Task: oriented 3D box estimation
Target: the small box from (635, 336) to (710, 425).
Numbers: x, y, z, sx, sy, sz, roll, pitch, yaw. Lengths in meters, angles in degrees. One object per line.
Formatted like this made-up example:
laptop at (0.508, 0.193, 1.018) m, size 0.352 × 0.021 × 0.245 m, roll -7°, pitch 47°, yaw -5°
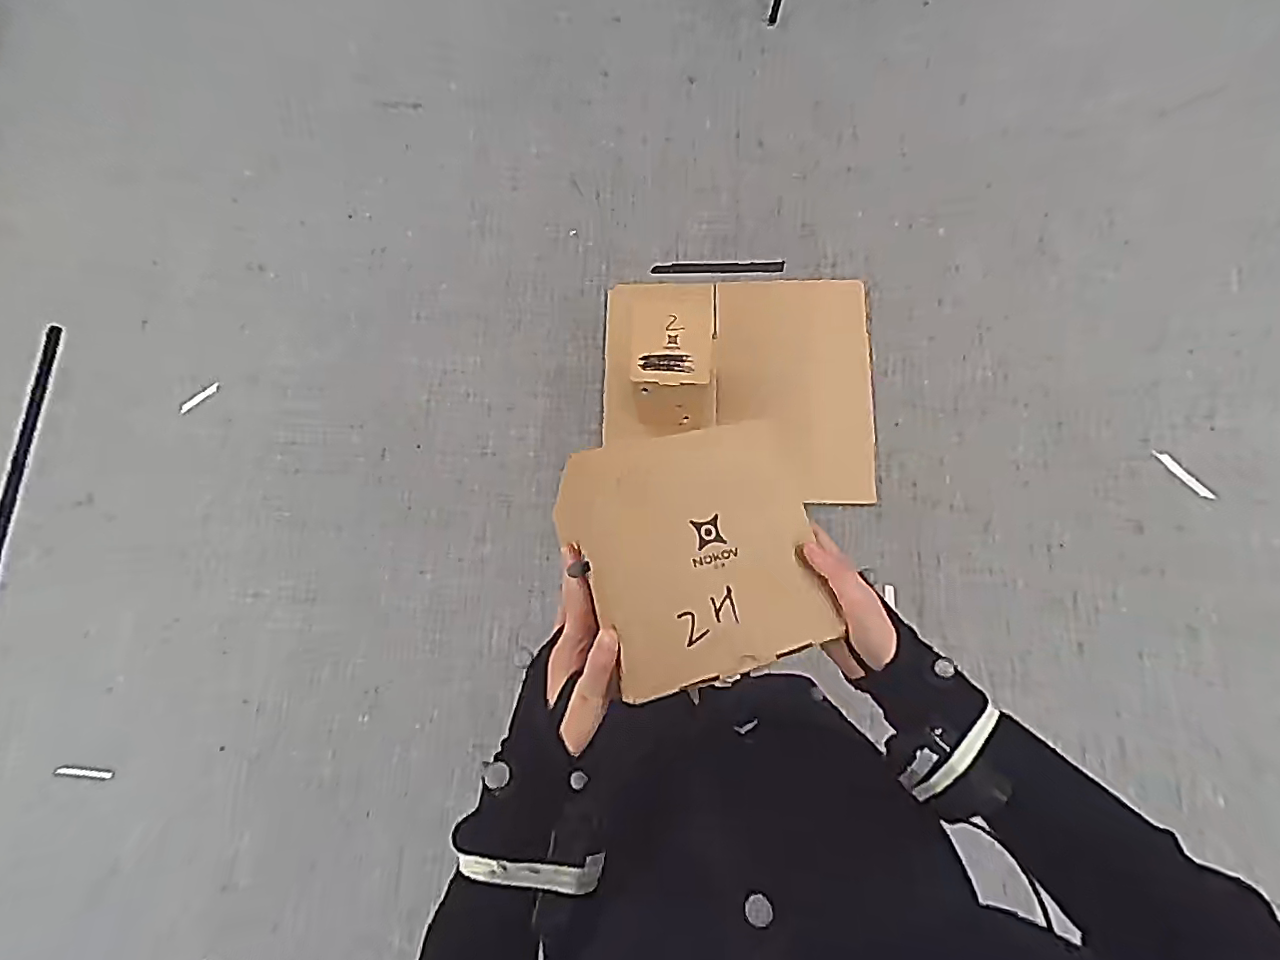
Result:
small box at (0.083, -0.242, 1.355) m, size 0.168 × 0.176 × 0.179 m, roll 5°, pitch 80°, yaw 4°

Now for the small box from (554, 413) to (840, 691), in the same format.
small box at (0.028, 0.066, 0.459) m, size 0.168 × 0.176 × 0.179 m, roll -12°, pitch 75°, yaw -17°
